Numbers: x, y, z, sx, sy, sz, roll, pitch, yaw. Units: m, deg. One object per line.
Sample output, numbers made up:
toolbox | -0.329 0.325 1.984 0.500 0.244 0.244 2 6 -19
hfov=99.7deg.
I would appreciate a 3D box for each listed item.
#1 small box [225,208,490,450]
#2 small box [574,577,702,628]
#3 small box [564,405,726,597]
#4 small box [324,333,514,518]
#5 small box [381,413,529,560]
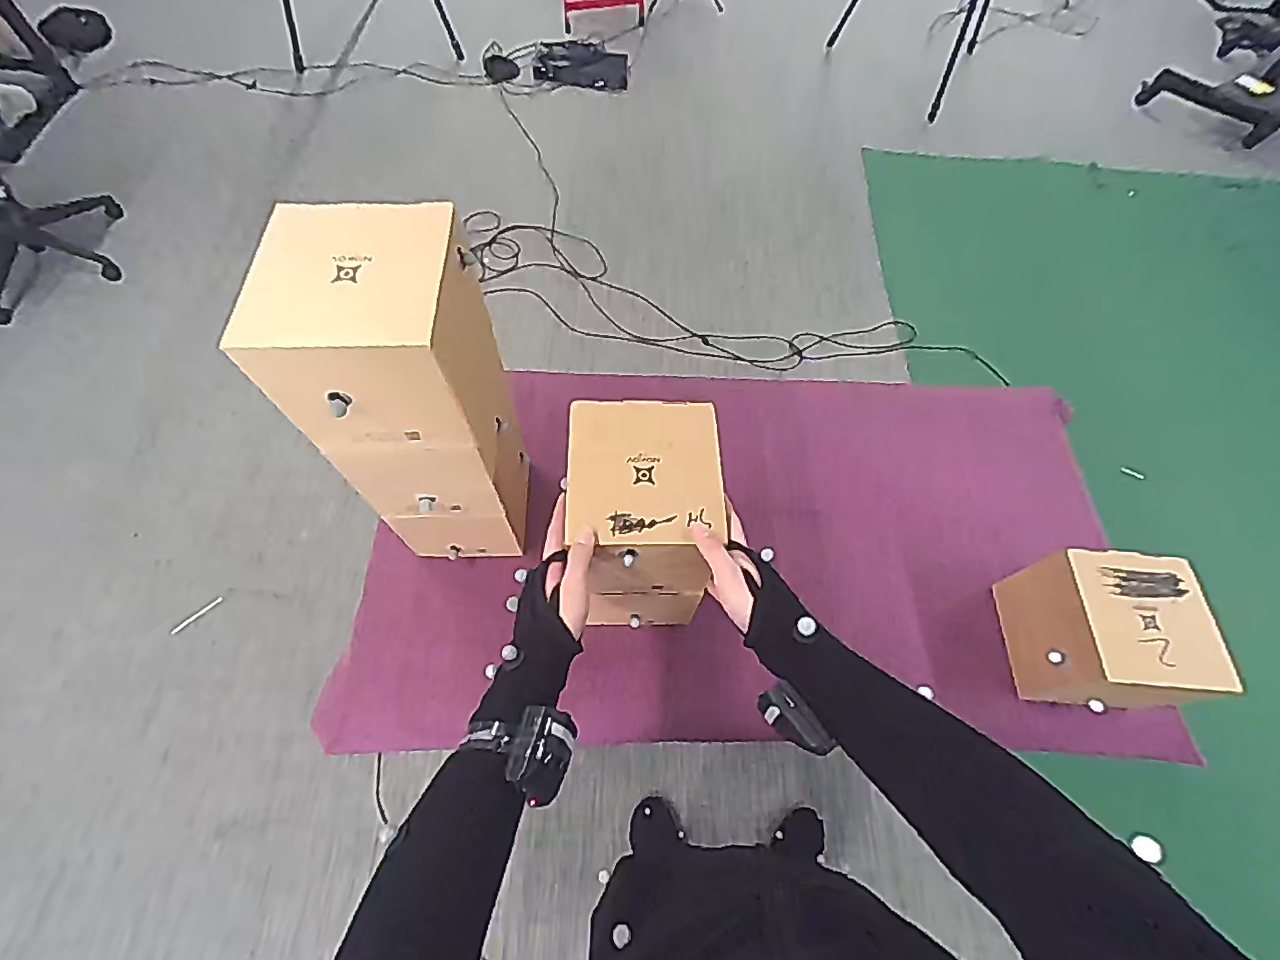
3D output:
small box | -0.254 -0.140 0.539 0.168 0.176 0.179 -2 62 -2
small box | -0.006 0.108 0.789 0.168 0.176 0.179 1 62 -2
small box | 0.001 0.030 0.646 0.168 0.176 0.179 0 63 -2
small box | -0.259 -0.065 0.684 0.168 0.176 0.179 -1 63 -2
small box | -0.267 0.012 0.827 0.168 0.176 0.179 -1 63 -2
